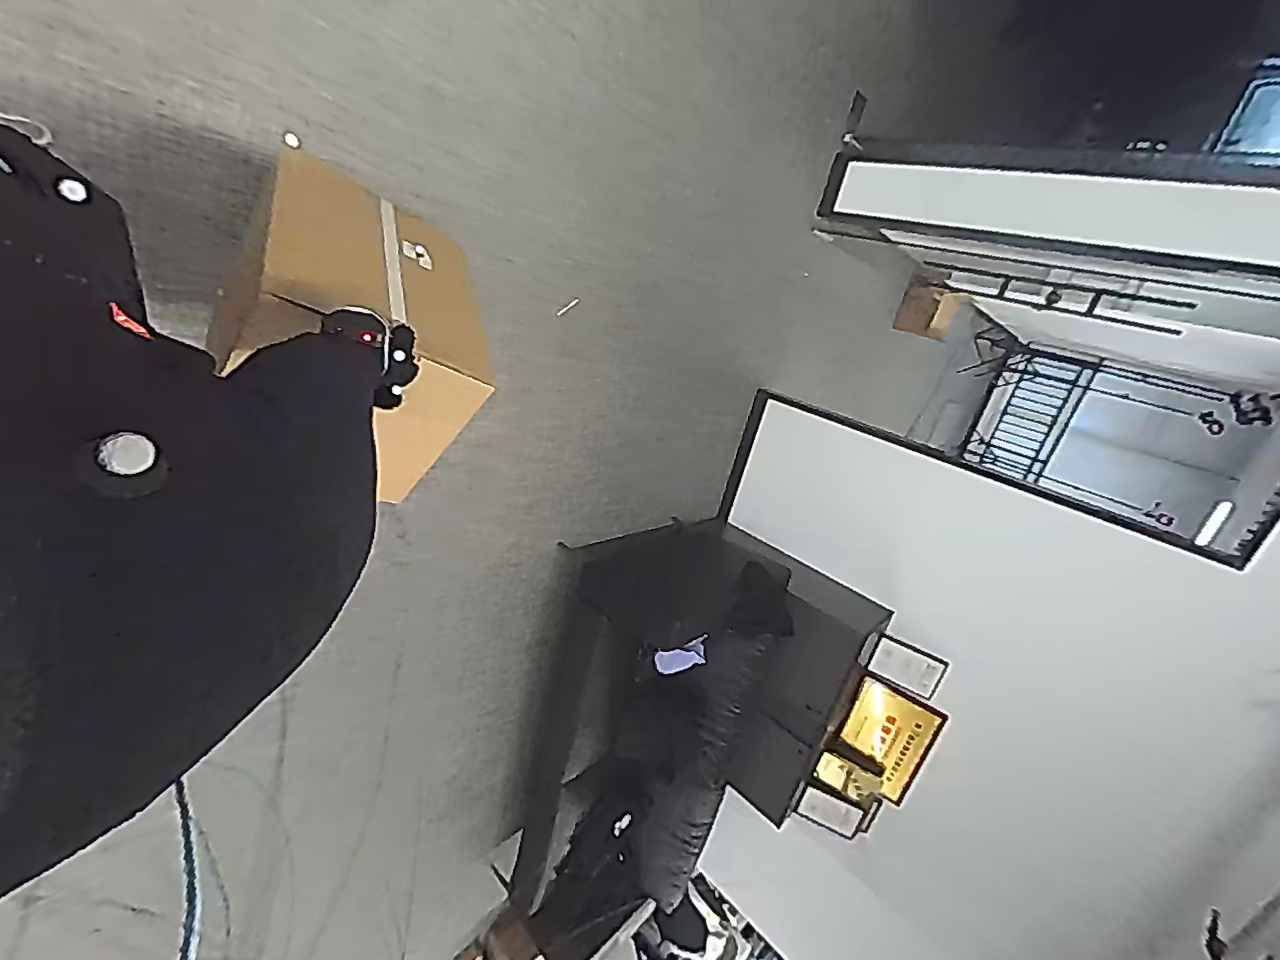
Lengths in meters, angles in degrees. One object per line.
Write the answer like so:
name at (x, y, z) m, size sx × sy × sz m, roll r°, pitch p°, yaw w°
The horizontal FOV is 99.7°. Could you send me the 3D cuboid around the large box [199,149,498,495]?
large box at (-0.481, -0.239, 0.899) m, size 0.320 × 0.408 × 0.320 m, roll -41°, pitch 141°, yaw 26°
